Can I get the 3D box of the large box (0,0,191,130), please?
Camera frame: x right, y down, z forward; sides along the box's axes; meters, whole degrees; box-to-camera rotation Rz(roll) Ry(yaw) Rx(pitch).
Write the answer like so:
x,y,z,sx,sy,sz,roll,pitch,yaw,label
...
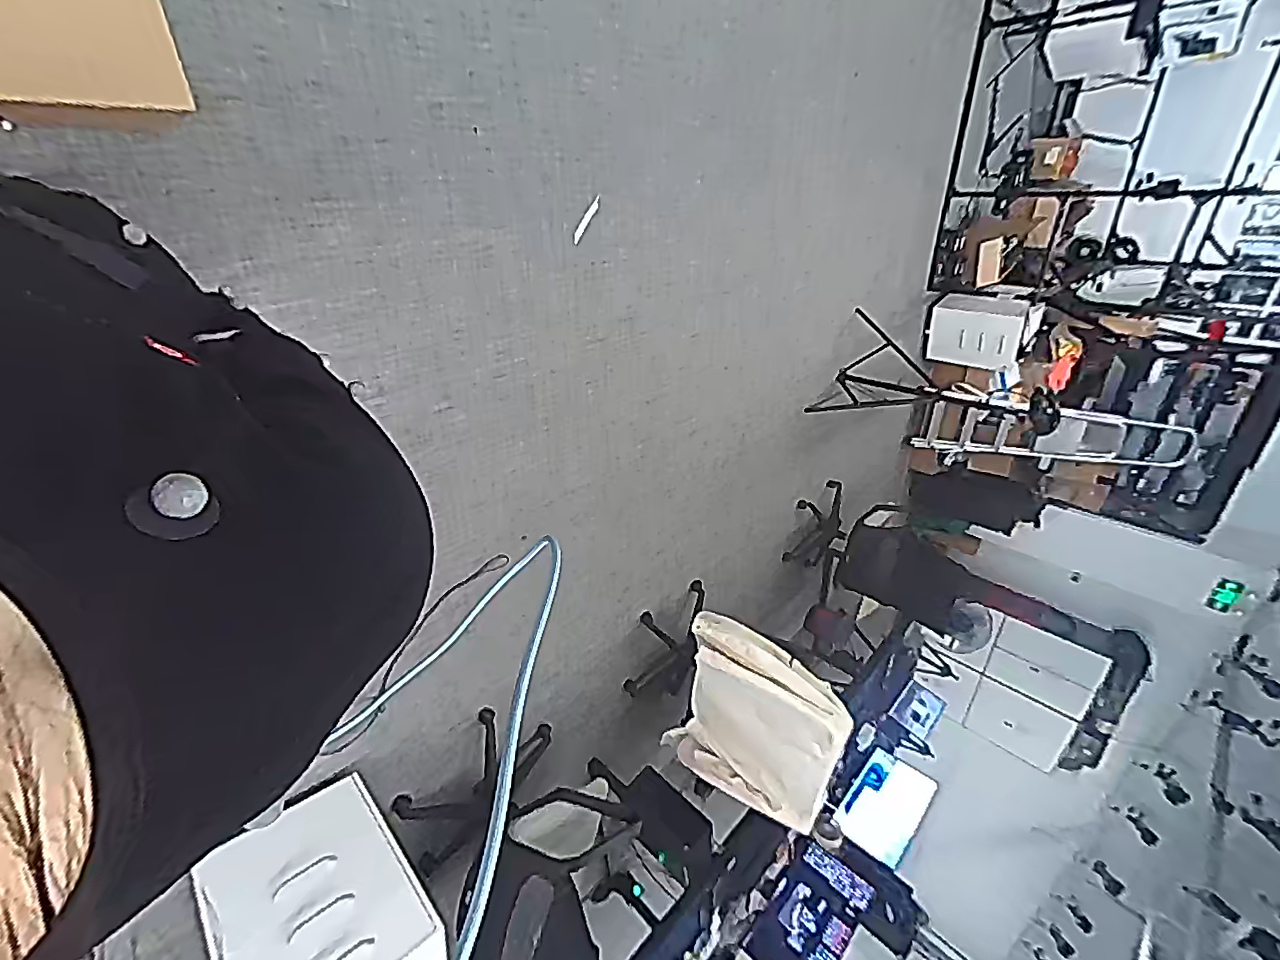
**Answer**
x,y,z,sx,sy,sz,roll,pitch,yaw,label
-0.882,-0.632,0.665,0.408,0.320,0.320,-27,128,-38,large box
